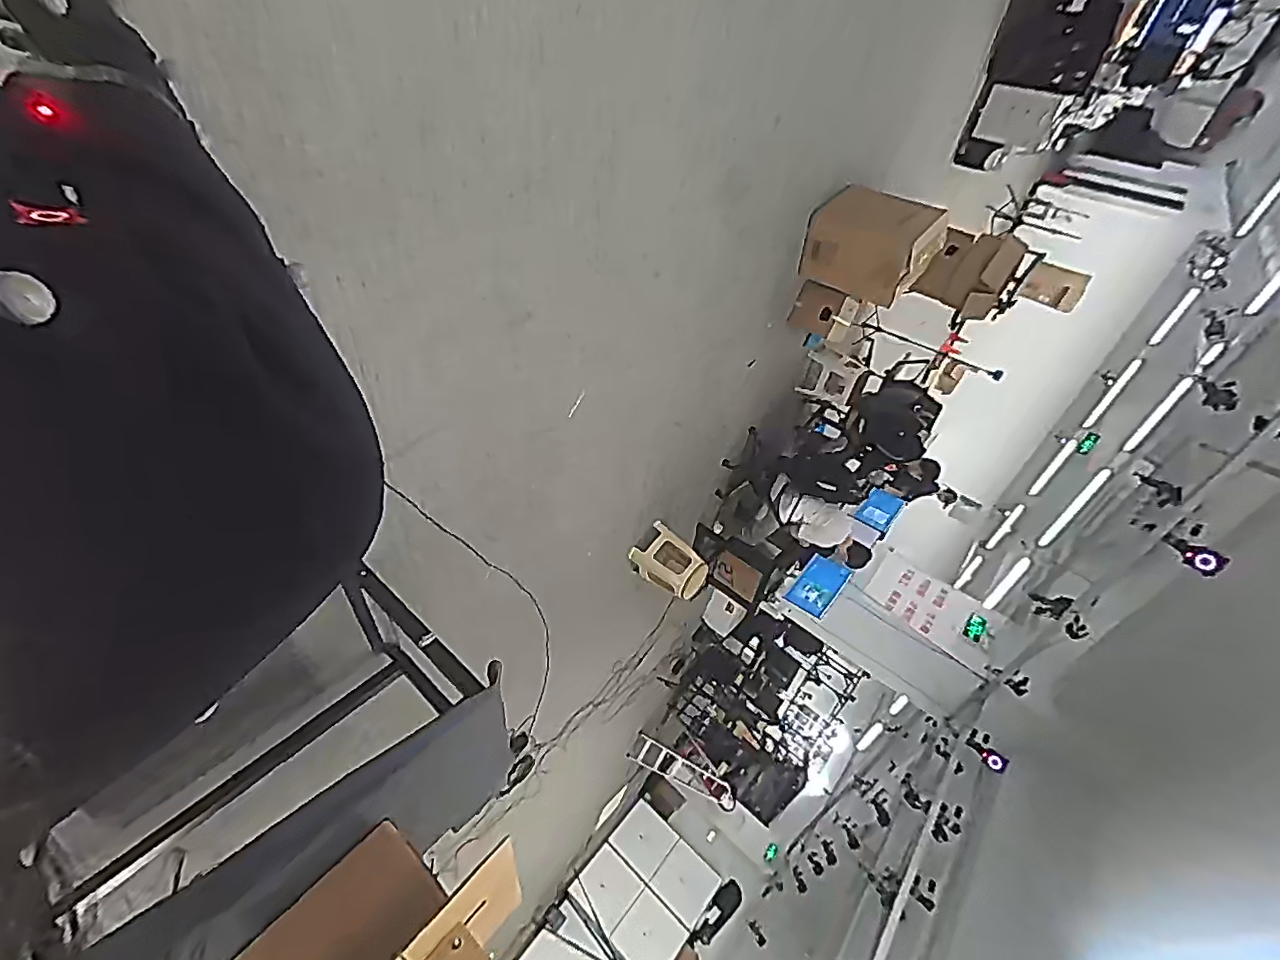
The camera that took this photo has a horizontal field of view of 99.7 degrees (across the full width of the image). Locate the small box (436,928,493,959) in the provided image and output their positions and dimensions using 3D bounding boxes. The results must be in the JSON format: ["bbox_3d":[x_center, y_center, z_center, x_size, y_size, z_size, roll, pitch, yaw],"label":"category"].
[{"bbox_3d":[-0.424,1.223,1.289,0.168,0.176,0.179,-35,146,-38],"label":"small box"}]
